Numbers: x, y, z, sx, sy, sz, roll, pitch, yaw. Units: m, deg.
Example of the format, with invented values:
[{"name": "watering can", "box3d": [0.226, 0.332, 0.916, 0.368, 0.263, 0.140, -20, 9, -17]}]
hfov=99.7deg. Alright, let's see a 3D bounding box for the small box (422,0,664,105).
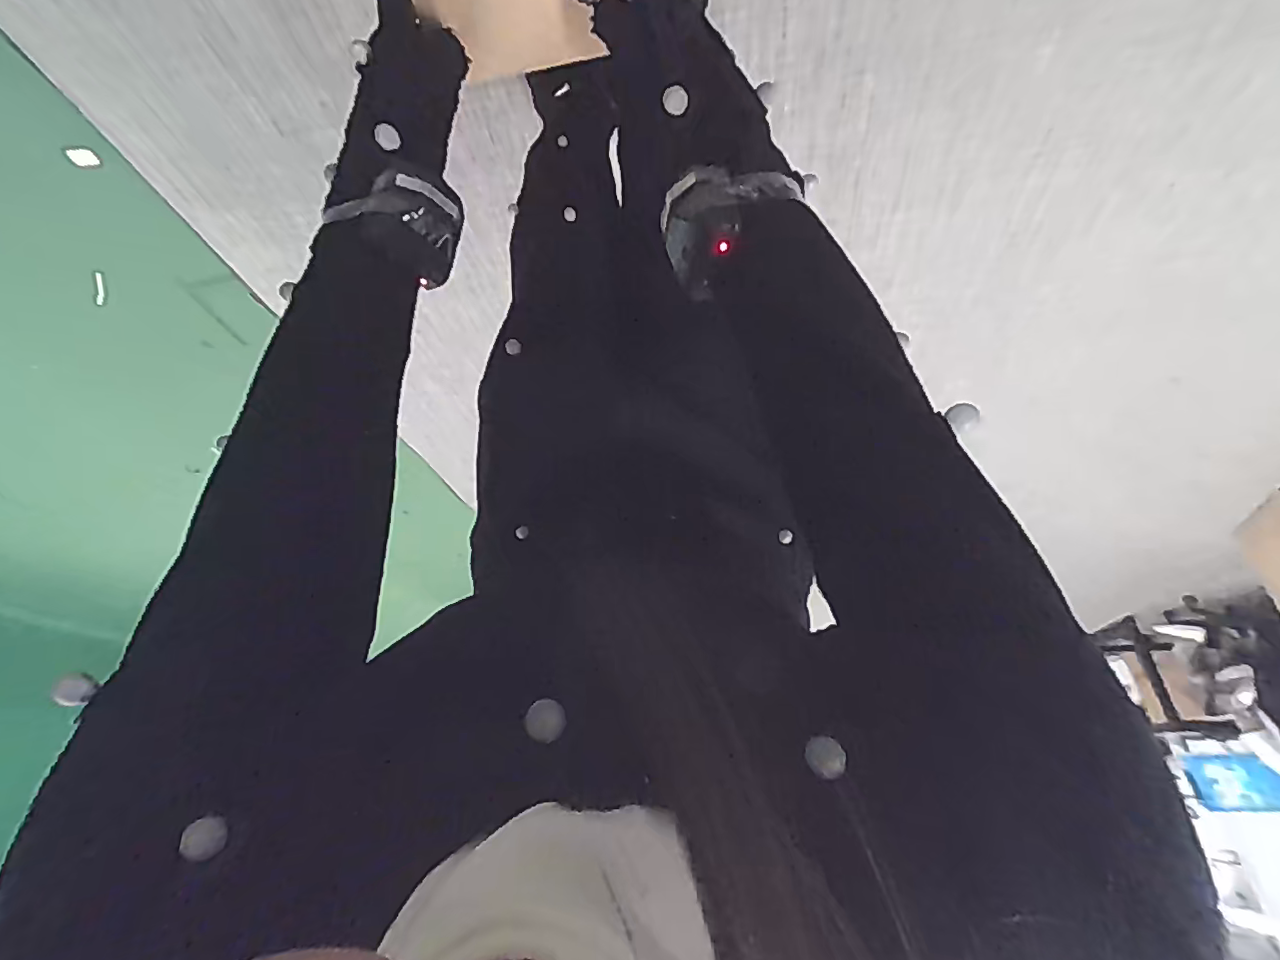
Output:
[{"name": "small box", "box3d": [-0.086, -0.445, 0.427, 0.179, 0.176, 0.168, -9, 147, 9]}]
